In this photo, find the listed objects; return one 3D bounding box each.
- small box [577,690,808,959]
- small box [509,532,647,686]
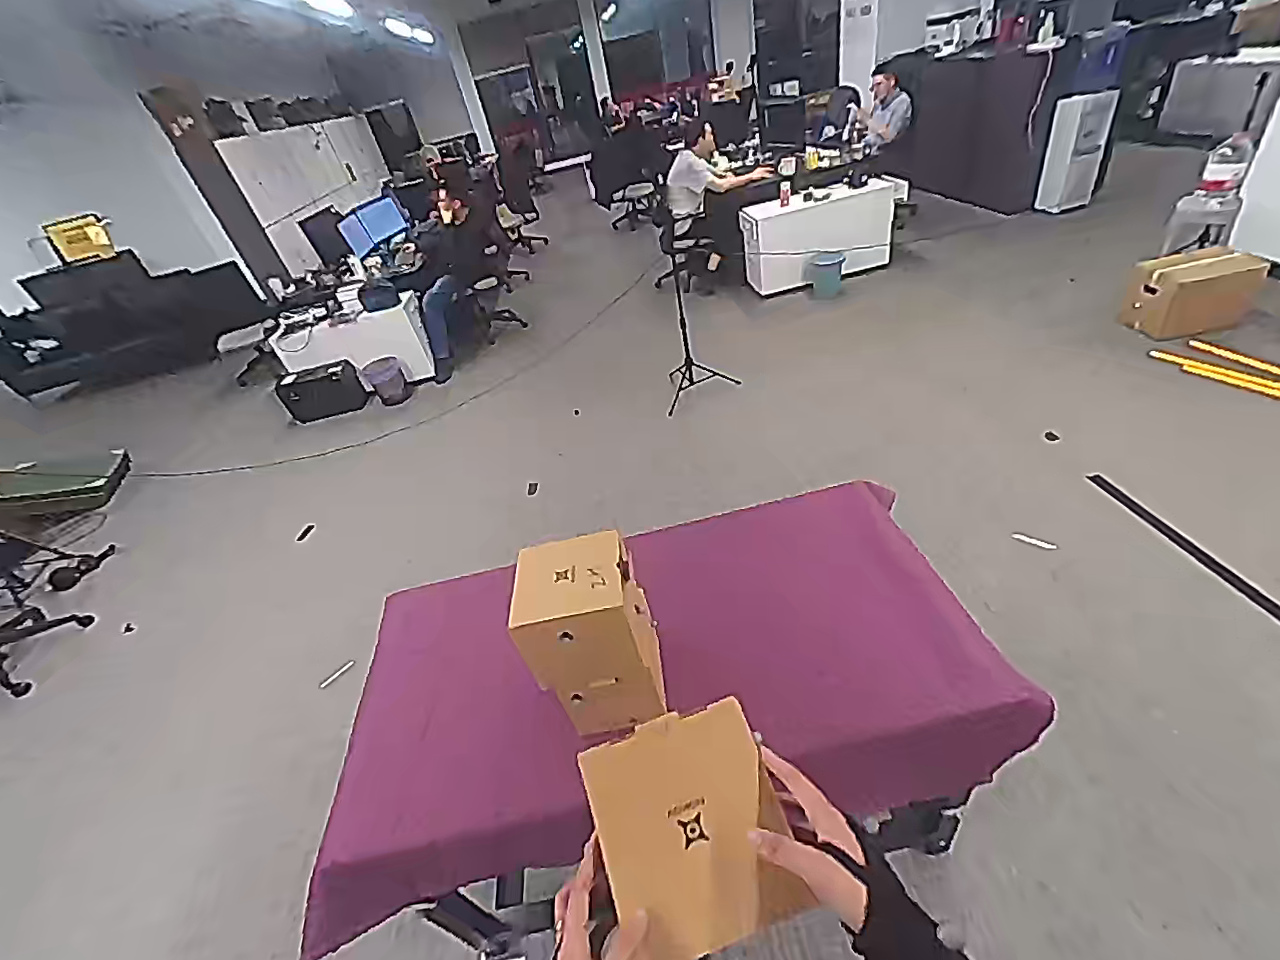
[{"bbox_3d":[0.045,0.344,0.552,0.168,0.176,0.179,-16,55,-8],"label":"small box"},{"bbox_3d":[-0.095,0.215,0.889,0.179,0.176,0.168,-12,37,4],"label":"small box"}]
